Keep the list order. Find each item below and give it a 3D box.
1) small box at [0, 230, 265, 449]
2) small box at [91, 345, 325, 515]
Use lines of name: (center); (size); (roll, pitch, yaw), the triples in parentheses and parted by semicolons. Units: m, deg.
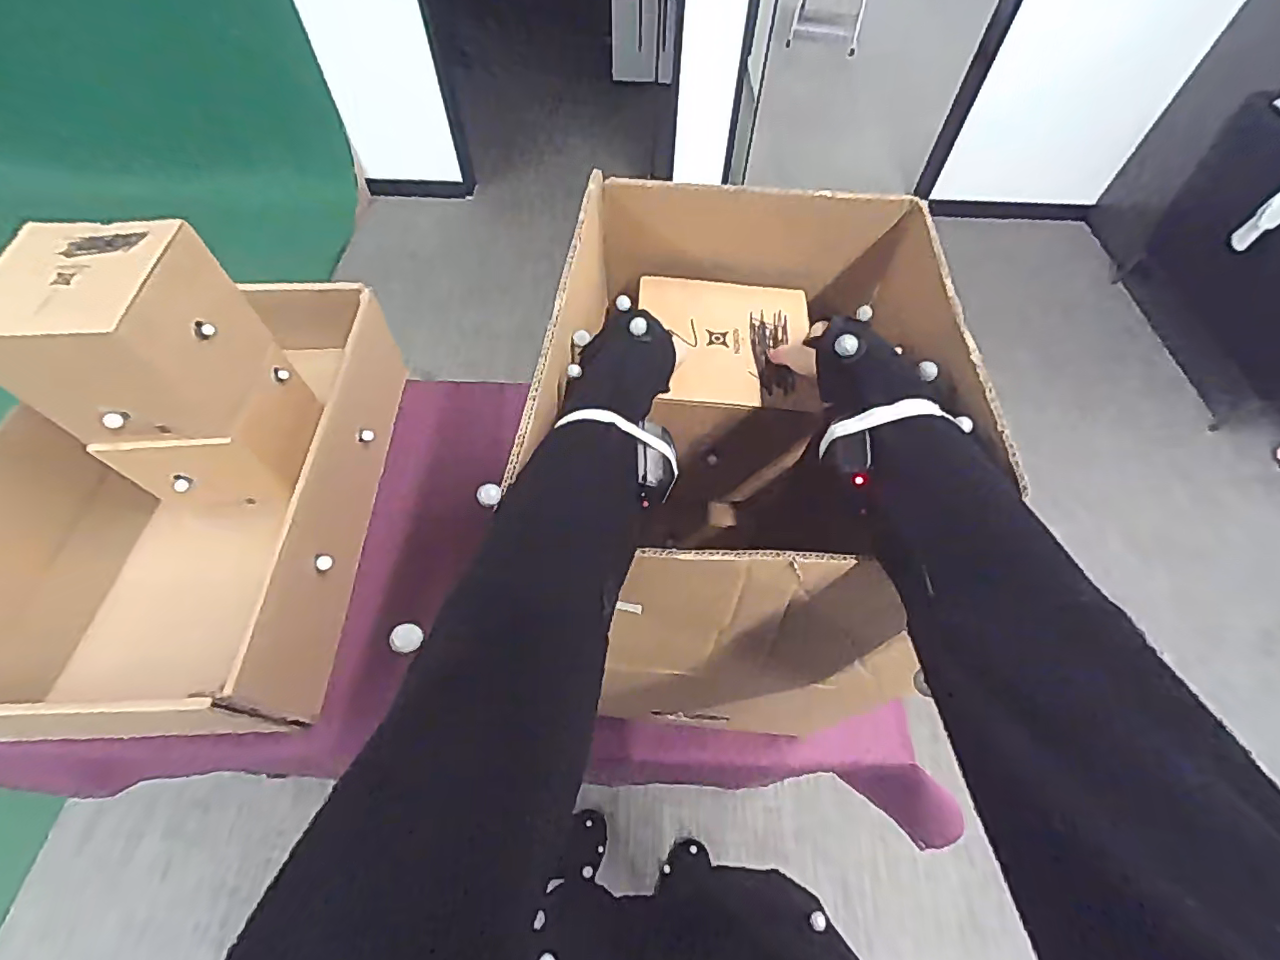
small box: (-0.569, -0.154, 0.610); (0.168, 0.176, 0.179); (-3, 59, -2)
small box: (-0.569, -0.060, 0.746); (0.168, 0.176, 0.179); (-4, 58, -2)
